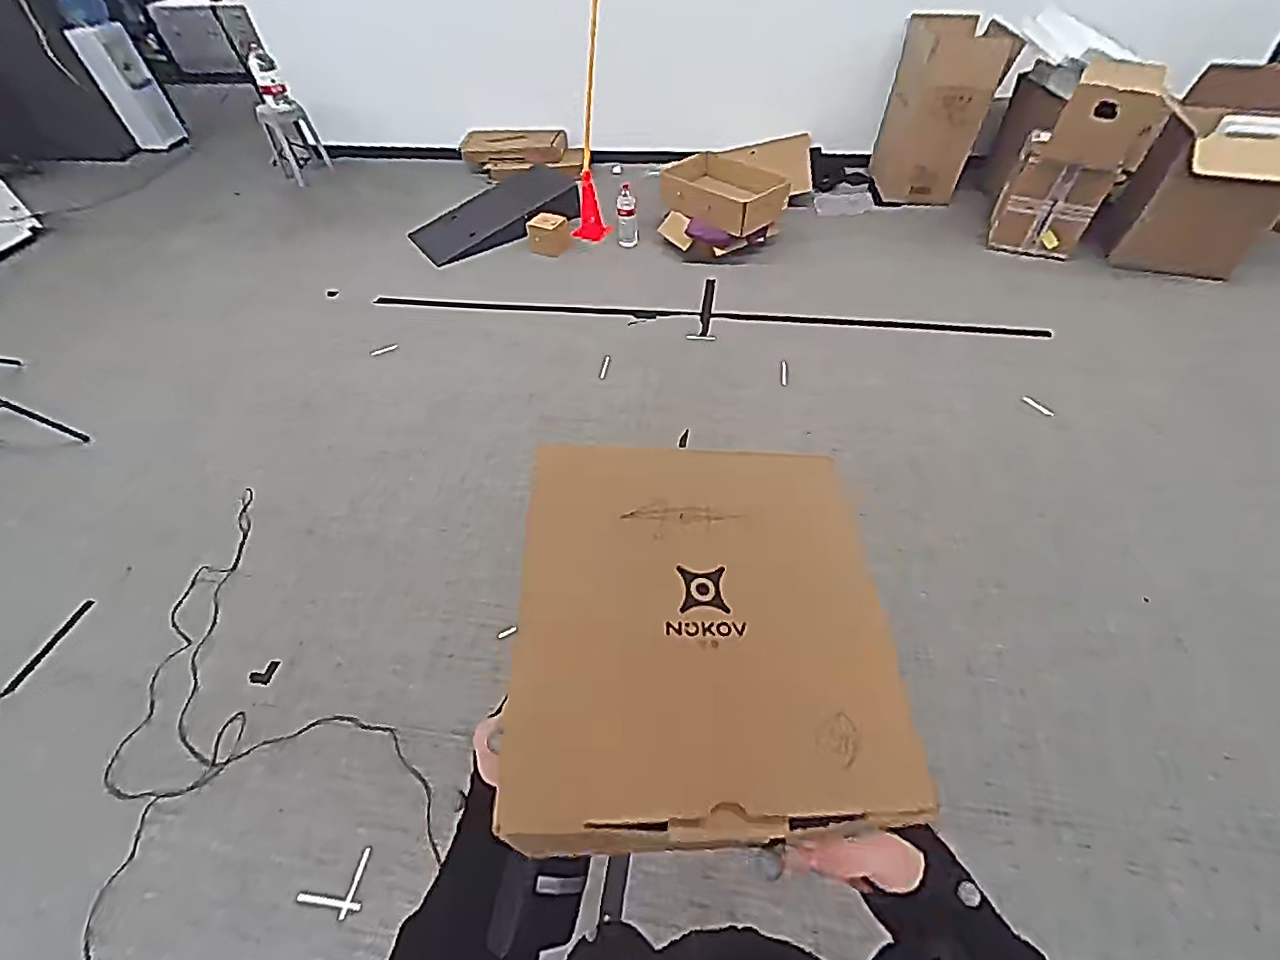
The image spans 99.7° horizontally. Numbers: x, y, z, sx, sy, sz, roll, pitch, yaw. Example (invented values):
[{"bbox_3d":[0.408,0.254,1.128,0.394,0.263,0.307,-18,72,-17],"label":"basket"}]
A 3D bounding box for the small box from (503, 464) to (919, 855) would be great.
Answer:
[{"bbox_3d":[0.019,0.110,0.317,0.168,0.176,0.179,1,52,-7],"label":"small box"}]
